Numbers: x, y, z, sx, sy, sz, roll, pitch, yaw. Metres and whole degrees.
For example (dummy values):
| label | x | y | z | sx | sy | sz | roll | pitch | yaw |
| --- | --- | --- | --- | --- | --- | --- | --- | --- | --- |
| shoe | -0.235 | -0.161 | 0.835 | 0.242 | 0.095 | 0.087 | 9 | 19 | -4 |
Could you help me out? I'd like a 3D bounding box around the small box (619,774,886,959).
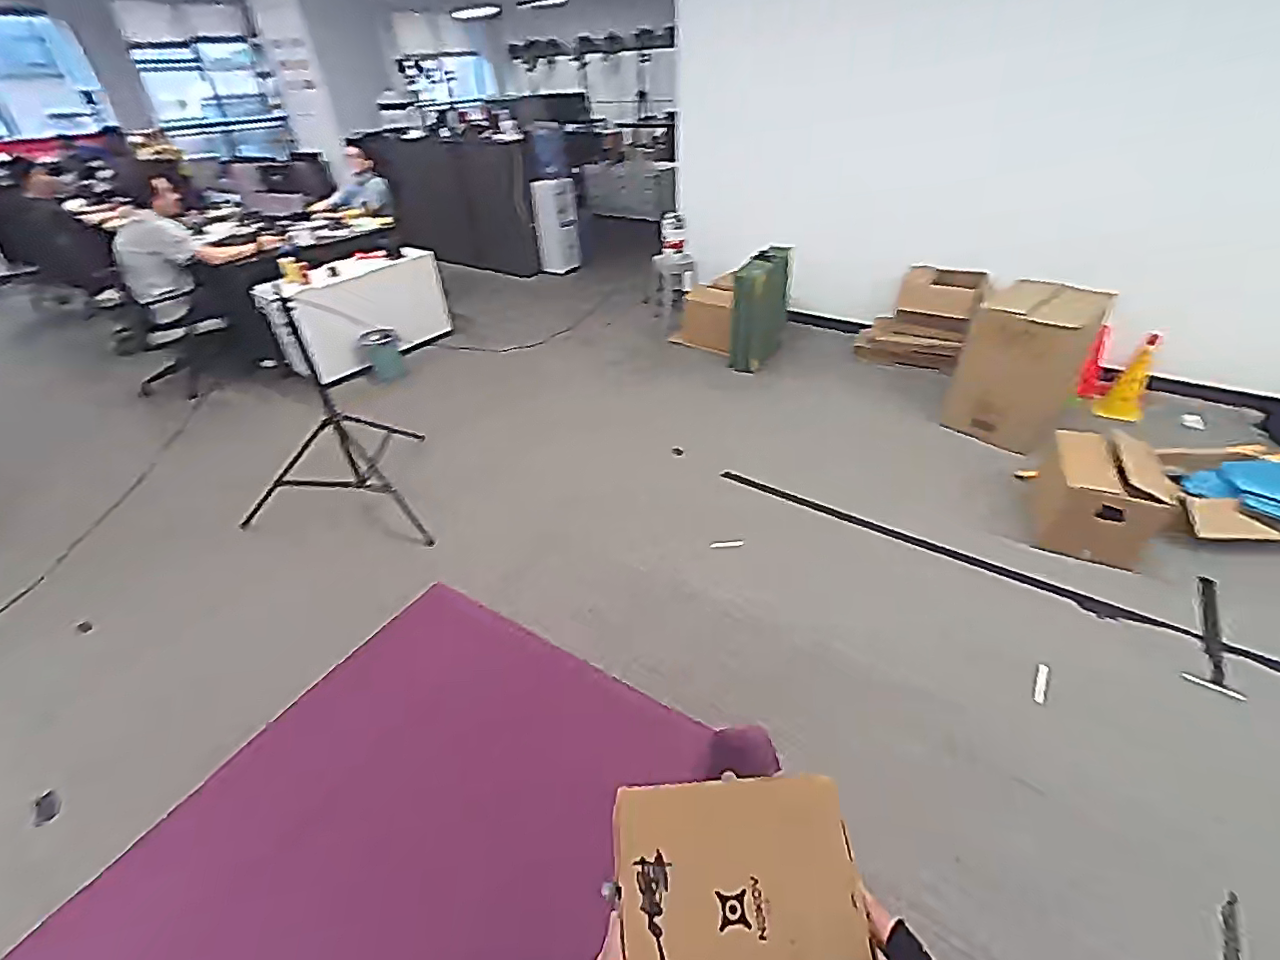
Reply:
| label | x | y | z | sx | sy | sz | roll | pitch | yaw |
| --- | --- | --- | --- | --- | --- | --- | --- | --- | --- |
| small box | 0.075 | 0.348 | 0.448 | 0.179 | 0.176 | 0.168 | 0 | 54 | -5 |
